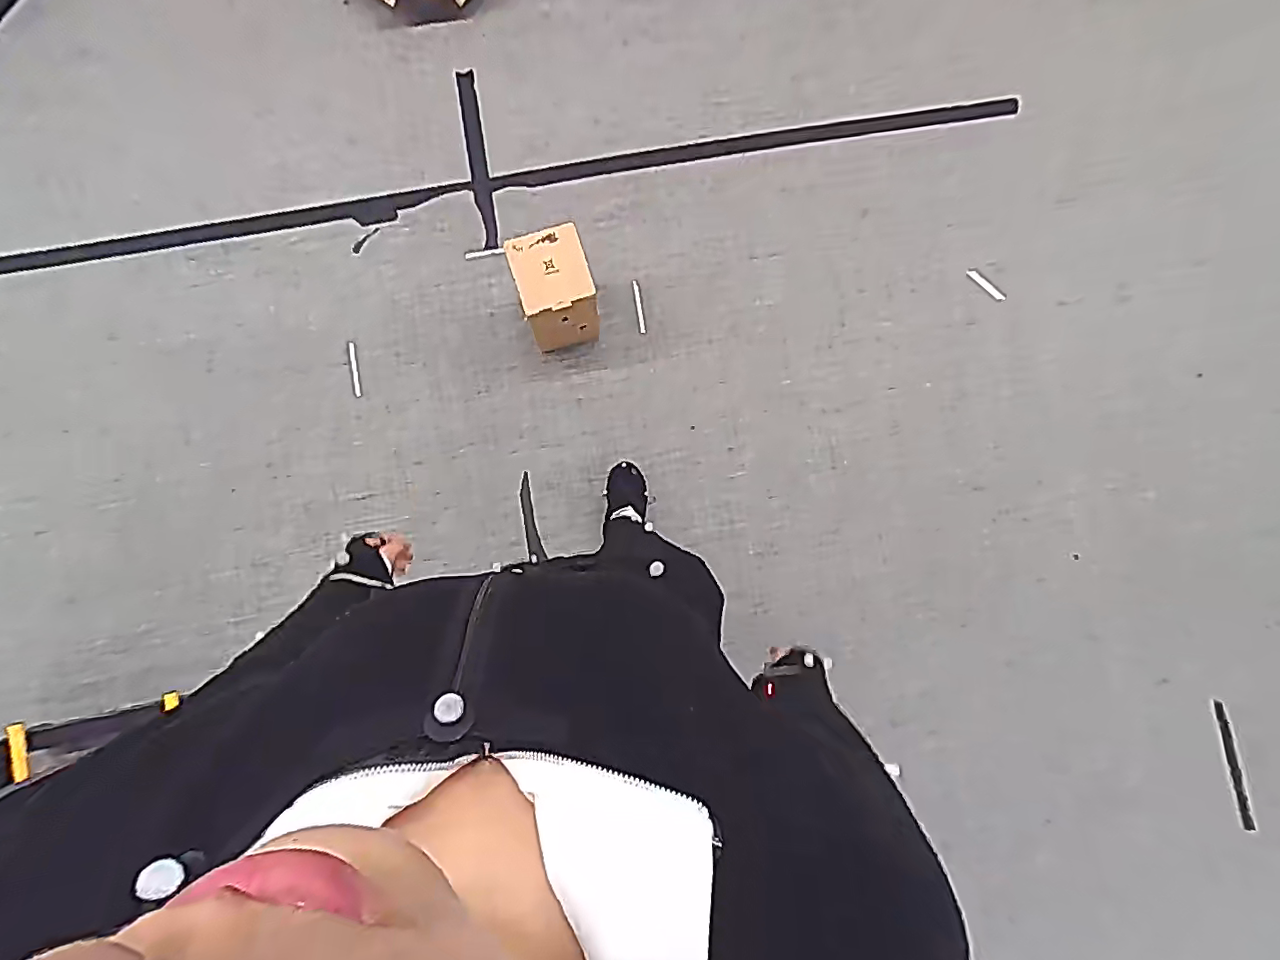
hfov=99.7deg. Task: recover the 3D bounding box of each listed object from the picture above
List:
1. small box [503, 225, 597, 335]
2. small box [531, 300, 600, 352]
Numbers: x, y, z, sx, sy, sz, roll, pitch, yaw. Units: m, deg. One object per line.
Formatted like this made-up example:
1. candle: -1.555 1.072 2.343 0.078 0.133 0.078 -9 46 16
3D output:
1. small box: -0.202 -0.457 1.269 0.168 0.176 0.179 -18 89 -4
2. small box: -0.210 -0.457 1.433 0.179 0.176 0.168 -16 88 -3
